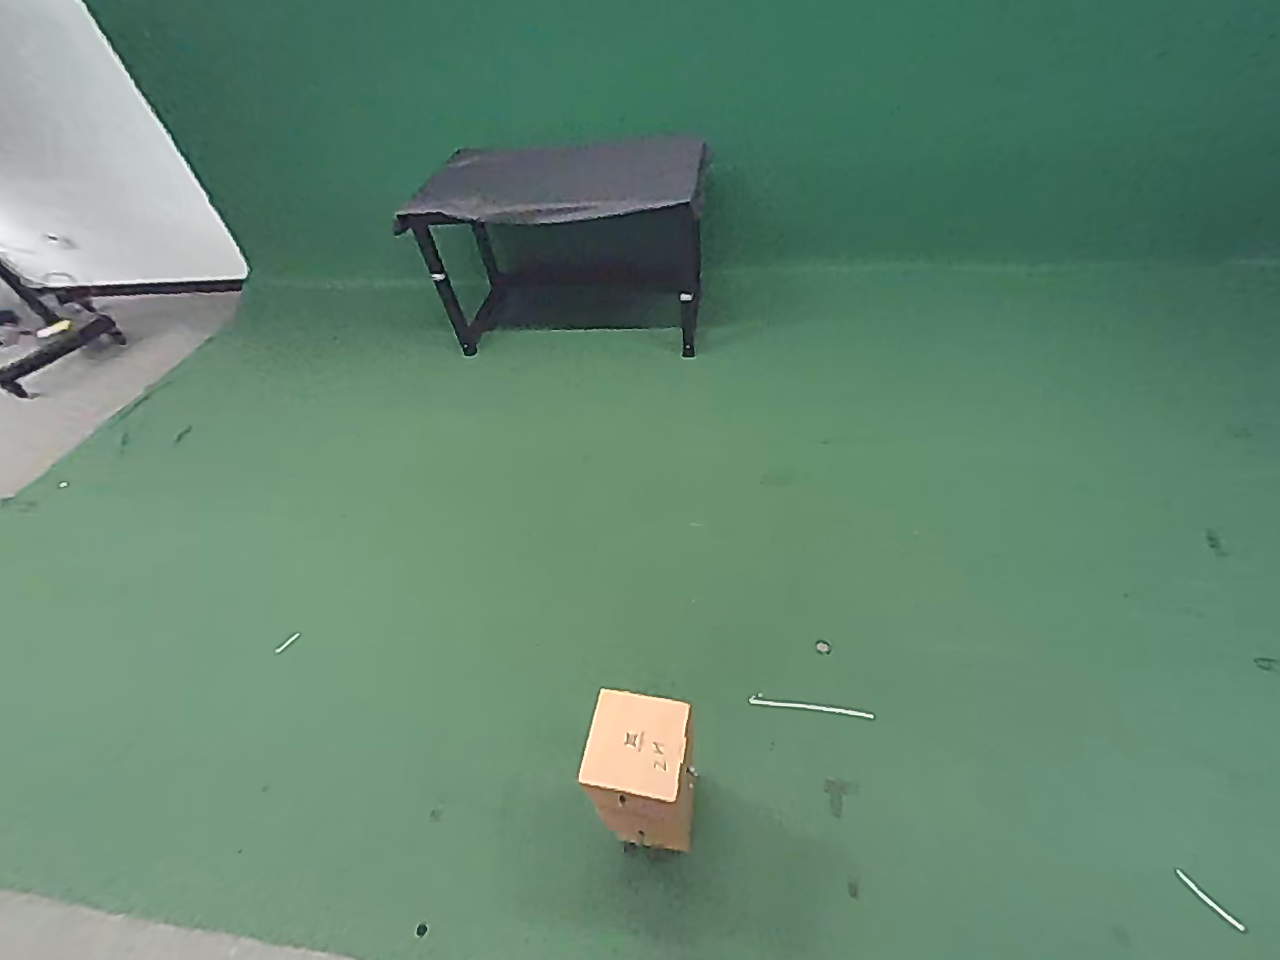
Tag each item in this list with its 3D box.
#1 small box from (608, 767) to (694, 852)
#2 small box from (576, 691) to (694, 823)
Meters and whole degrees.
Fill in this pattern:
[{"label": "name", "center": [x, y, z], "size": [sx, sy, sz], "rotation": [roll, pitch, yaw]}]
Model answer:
[{"label": "small box", "center": [0.034, 0.739, 1.255], "size": [0.168, 0.176, 0.179], "rotation": [3, 47, 11]}, {"label": "small box", "center": [0.000, 0.520, 1.012], "size": [0.179, 0.176, 0.168], "rotation": [5, 49, 13]}]
